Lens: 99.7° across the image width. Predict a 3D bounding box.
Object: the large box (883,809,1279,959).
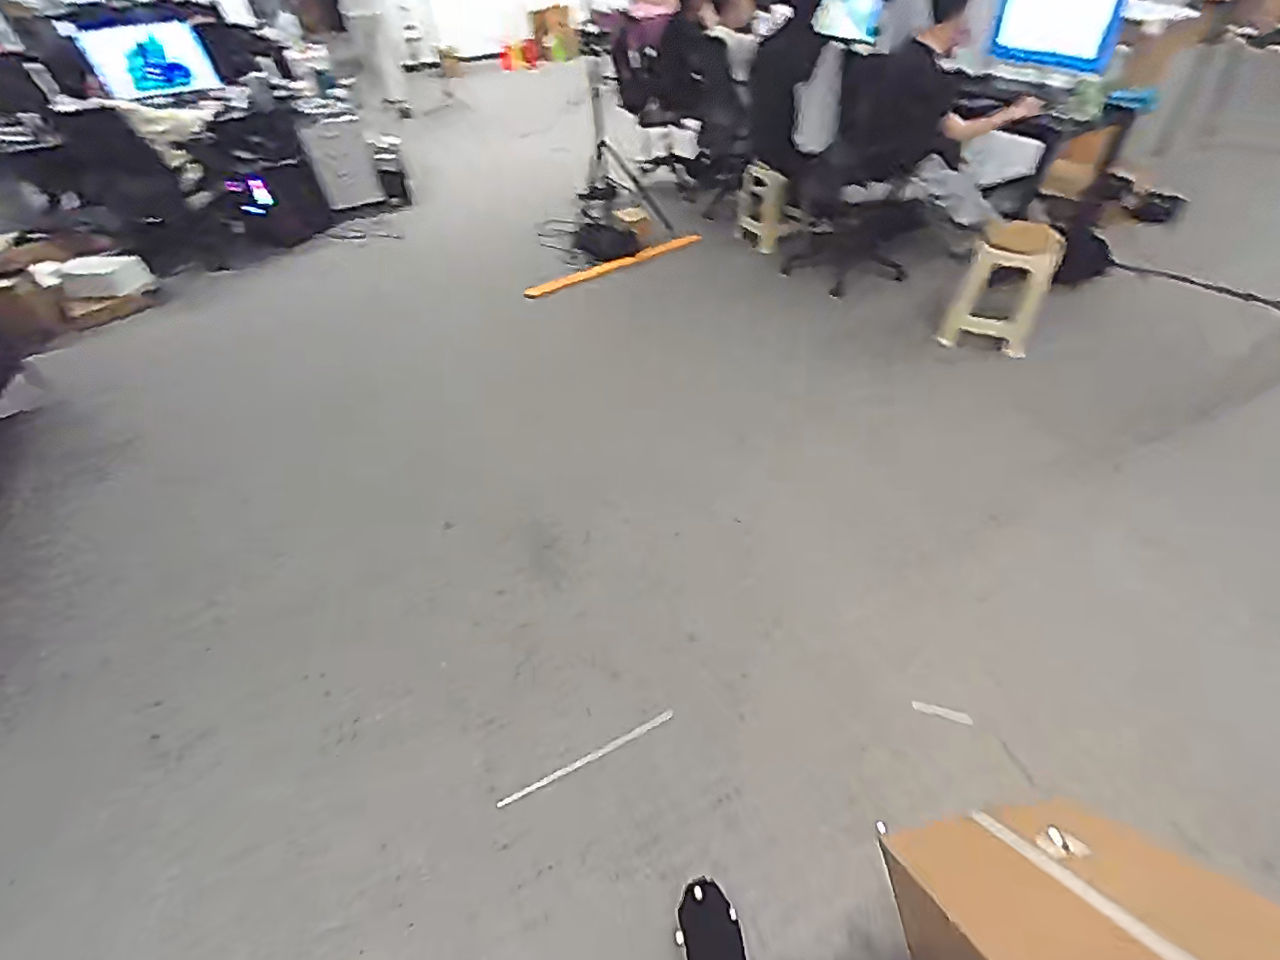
[{"bbox_3d":[0.564,0.663,0.646,0.320,0.408,0.320,-11,78,0],"label":"large box"}]
